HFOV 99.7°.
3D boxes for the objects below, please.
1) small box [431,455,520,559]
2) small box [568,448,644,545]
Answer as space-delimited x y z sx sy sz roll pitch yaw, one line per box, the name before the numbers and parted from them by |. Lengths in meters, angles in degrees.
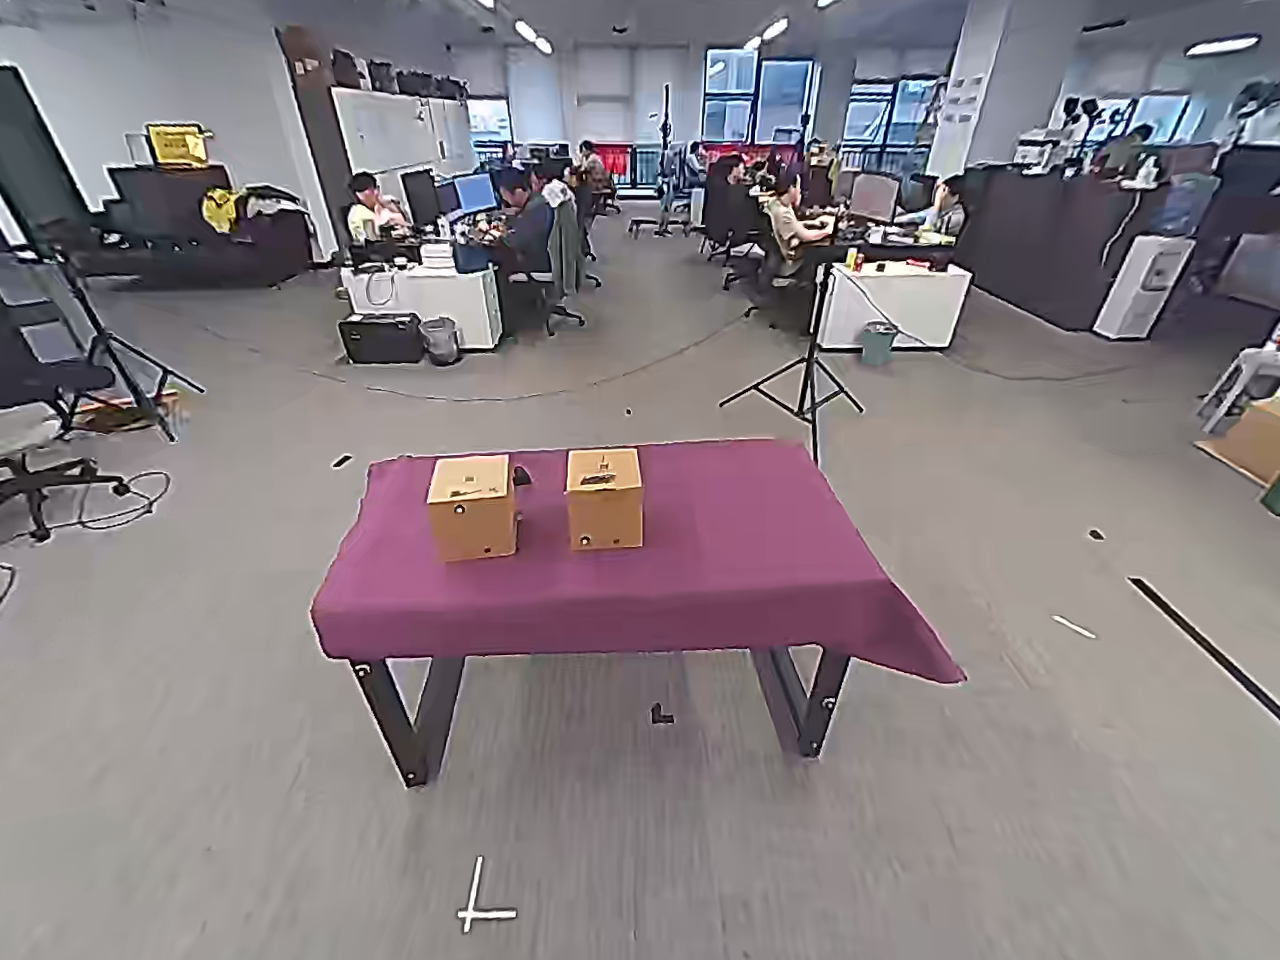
small box | -0.372 0.060 1.251 0.168 0.176 0.179 -5 33 -8
small box | -0.078 0.042 1.281 0.168 0.176 0.179 -2 32 -4
